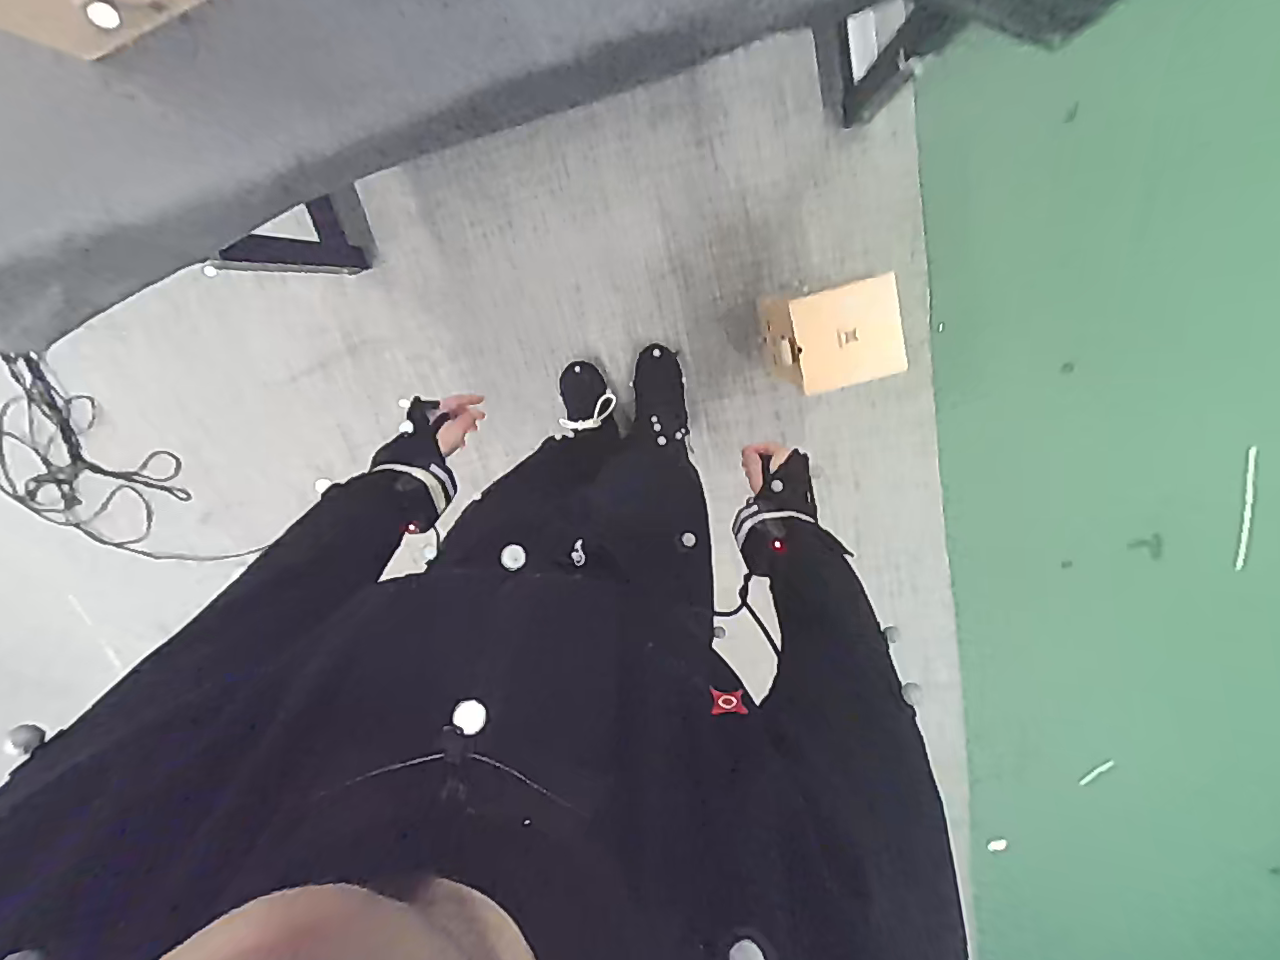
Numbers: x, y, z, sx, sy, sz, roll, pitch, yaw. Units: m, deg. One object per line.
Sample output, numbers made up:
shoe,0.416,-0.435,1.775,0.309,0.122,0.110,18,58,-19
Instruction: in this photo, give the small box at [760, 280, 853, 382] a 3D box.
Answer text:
small box,0.354,-0.312,1.137,0.179,0.176,0.168,-12,106,10

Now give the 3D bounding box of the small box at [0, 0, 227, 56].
small box,-0.459,-0.461,0.389,0.168,0.176,0.179,-15,107,10

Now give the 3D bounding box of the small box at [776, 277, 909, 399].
small box,0.358,-0.261,0.979,0.179,0.176,0.168,-14,107,10
